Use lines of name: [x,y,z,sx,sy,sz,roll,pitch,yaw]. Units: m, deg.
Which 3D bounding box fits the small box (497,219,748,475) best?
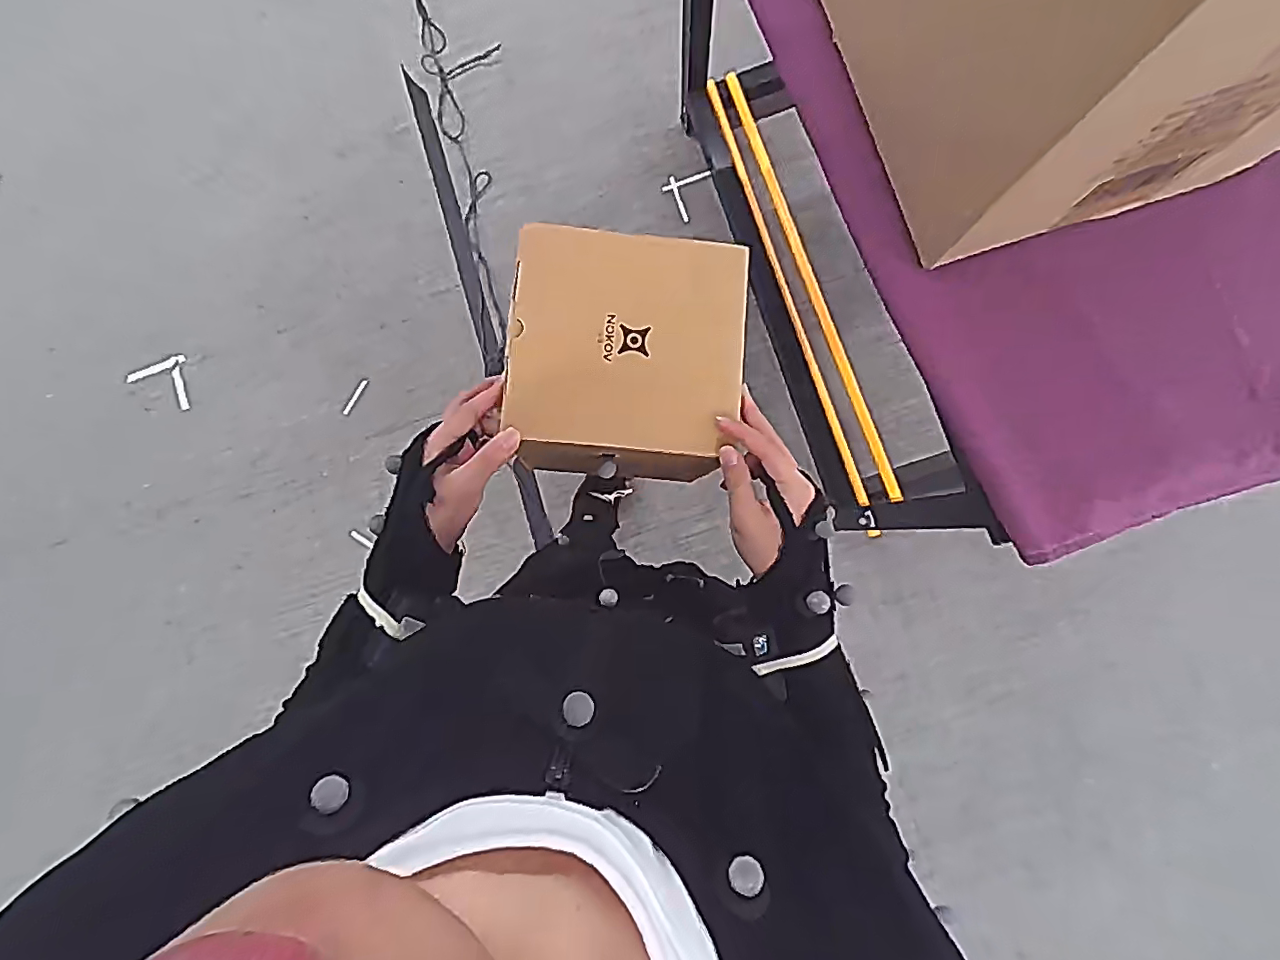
small box: [-0.016,-0.098,0.479,0.179,0.176,0.168,5,84,-4]
